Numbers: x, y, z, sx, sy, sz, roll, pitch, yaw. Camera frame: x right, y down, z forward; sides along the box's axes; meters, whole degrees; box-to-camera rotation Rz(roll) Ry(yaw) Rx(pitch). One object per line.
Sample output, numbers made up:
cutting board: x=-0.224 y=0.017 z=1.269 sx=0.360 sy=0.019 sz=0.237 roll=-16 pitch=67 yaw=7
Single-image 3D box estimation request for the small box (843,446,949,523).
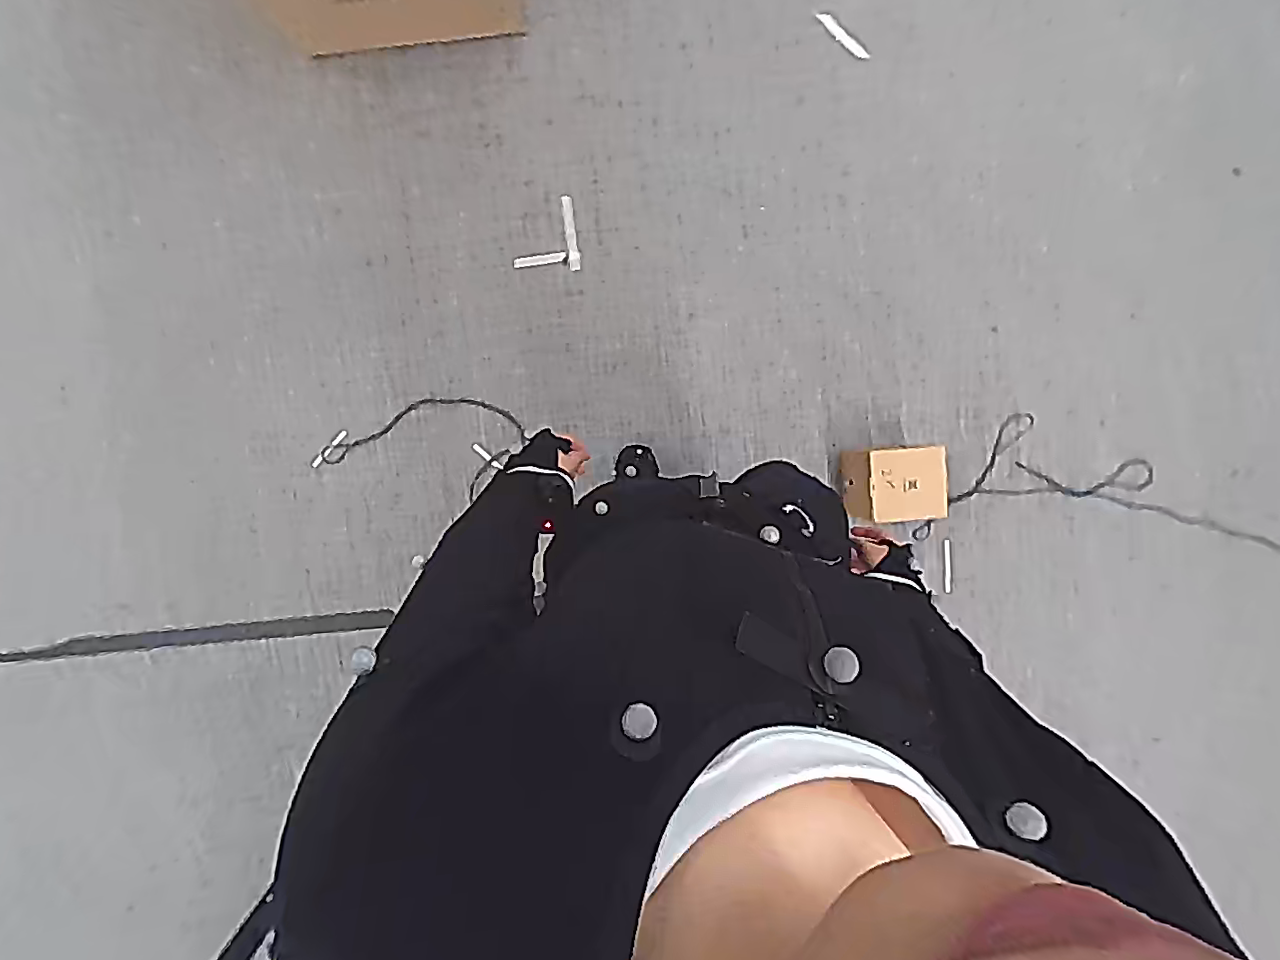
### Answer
small box: x=0.607 y=0.005 z=1.295 sx=0.179 sy=0.176 sz=0.168 roll=-4 pitch=94 yaw=-1
